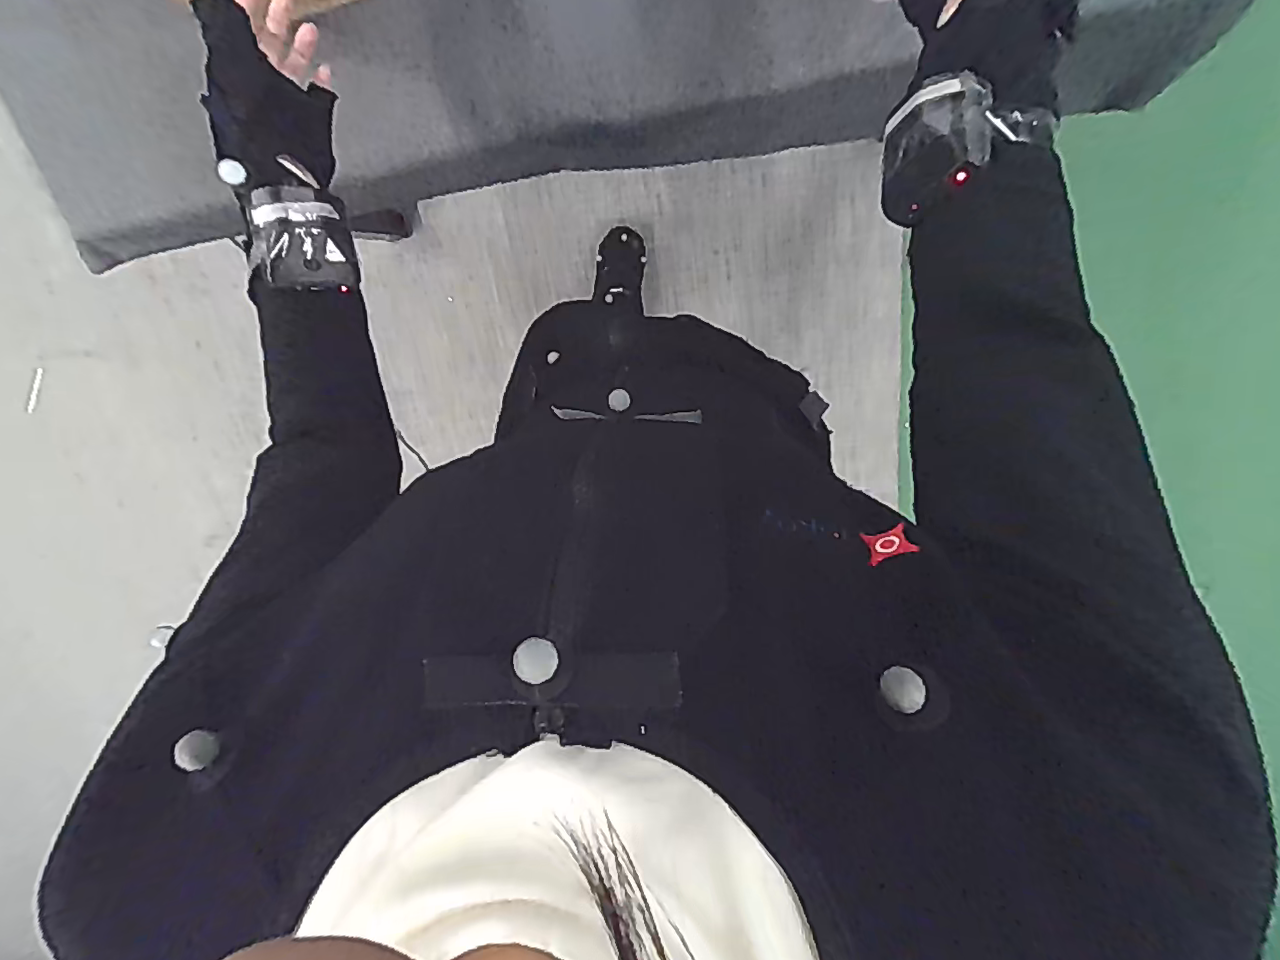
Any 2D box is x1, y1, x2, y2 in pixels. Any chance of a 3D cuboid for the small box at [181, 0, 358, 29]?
[{"bbox_3d":[-0.335,-0.500,0.426,0.168,0.176,0.179,-13,109,6],"label":"small box"}]
